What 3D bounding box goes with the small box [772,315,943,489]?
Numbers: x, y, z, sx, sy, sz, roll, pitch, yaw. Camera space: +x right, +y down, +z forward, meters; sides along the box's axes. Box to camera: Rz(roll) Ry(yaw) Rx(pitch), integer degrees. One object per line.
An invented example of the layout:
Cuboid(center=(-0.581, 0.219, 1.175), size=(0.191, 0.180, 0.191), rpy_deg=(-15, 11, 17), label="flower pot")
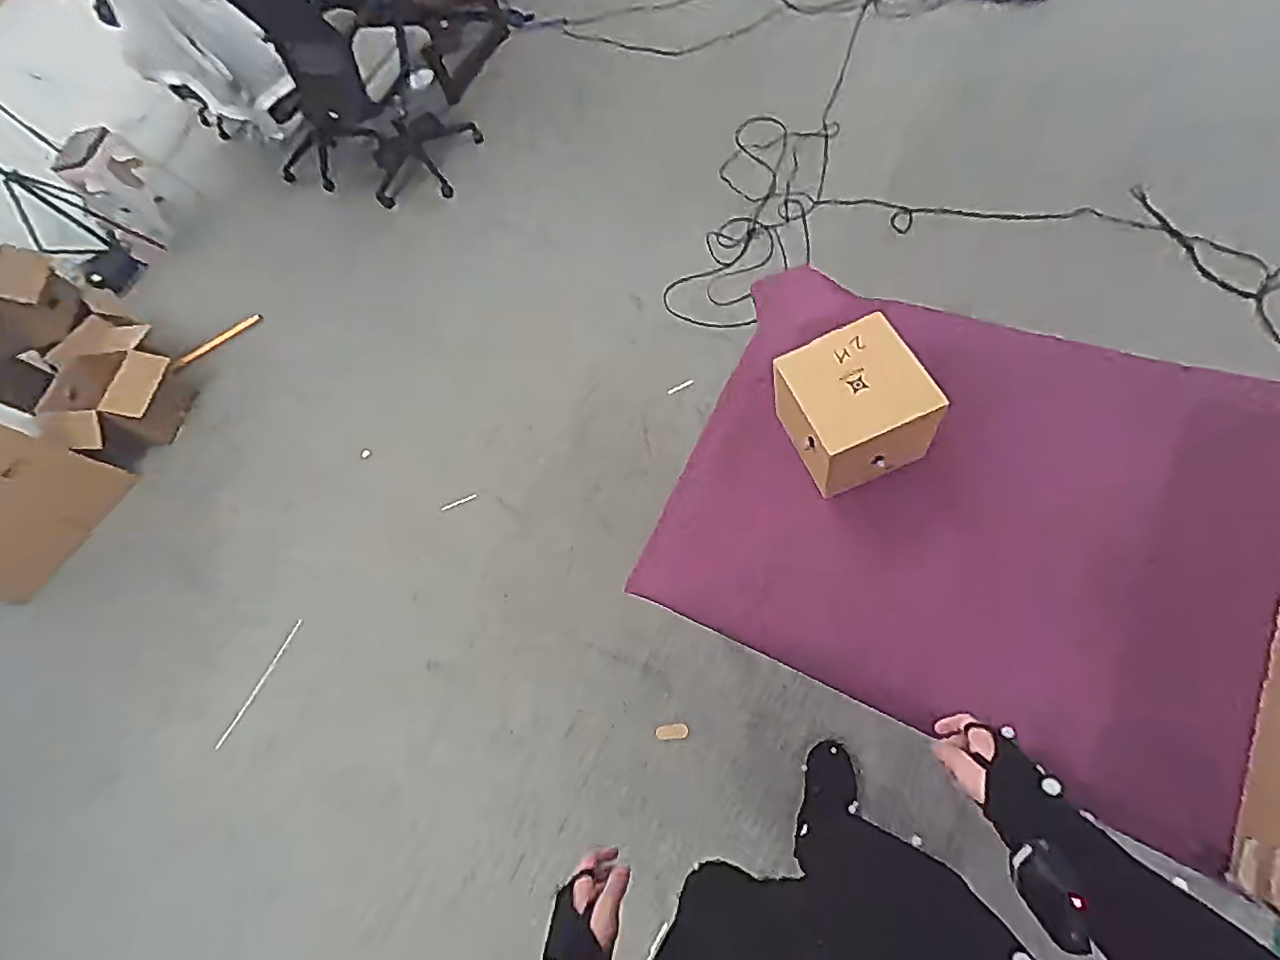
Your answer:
Cuboid(center=(0.312, -0.103, 0.809), size=(0.168, 0.176, 0.179), rpy_deg=(-24, 63, 5), label="small box")
